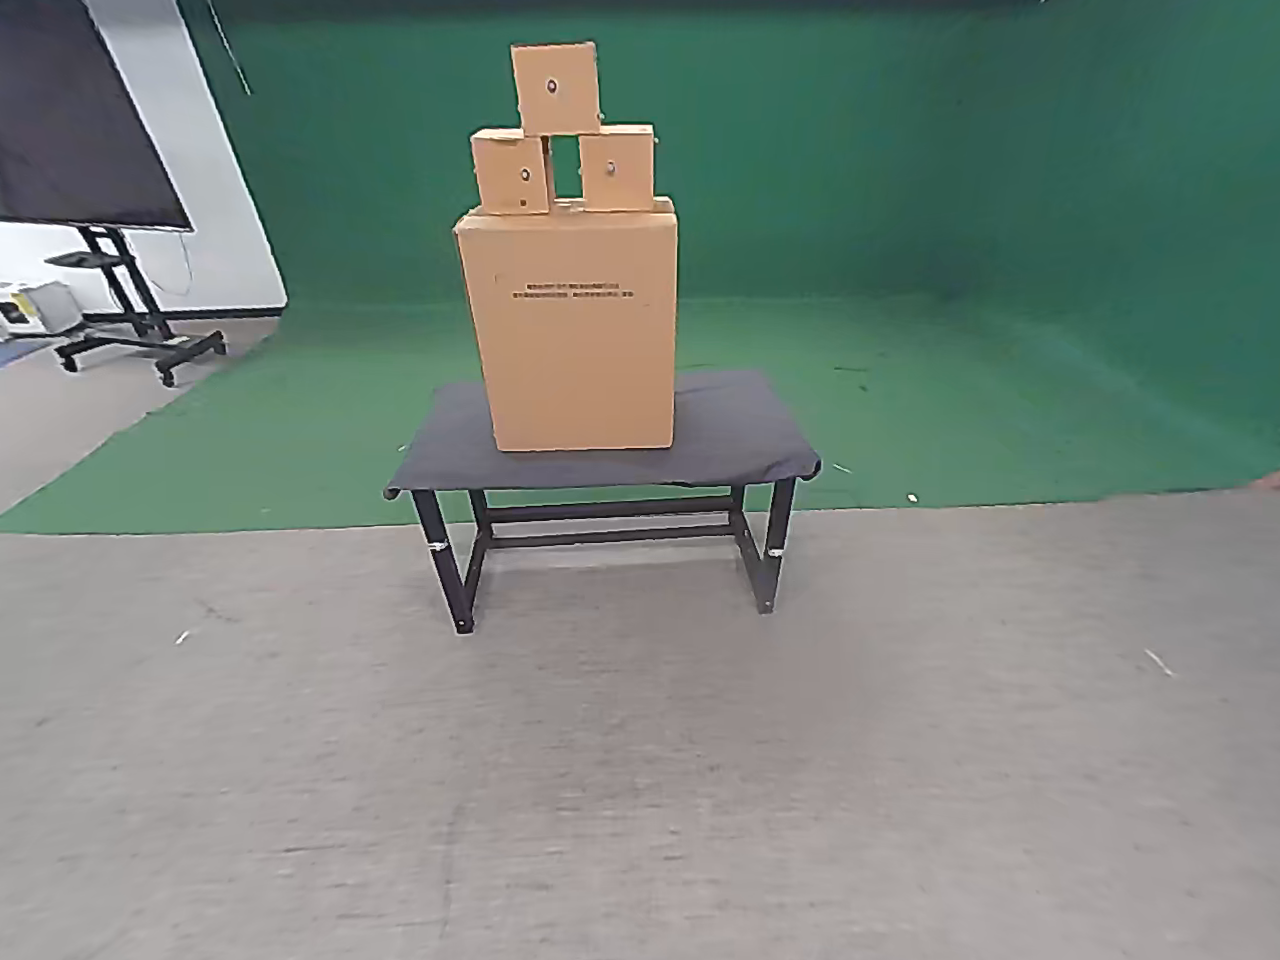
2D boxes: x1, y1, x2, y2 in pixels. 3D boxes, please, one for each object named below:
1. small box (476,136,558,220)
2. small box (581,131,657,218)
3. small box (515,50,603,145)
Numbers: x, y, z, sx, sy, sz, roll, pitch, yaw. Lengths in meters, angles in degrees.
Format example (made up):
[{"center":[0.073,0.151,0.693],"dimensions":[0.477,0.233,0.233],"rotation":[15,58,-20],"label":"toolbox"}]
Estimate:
[{"center":[-0.303,-0.767,1.374],"dimensions":[0.168,0.176,0.179],"rotation":[-1,36,-1],"label":"small box"},{"center":[-0.047,-0.775,1.373],"dimensions":[0.179,0.176,0.168],"rotation":[-1,38,2],"label":"small box"},{"center":[-0.180,-0.901,1.273],"dimensions":[0.179,0.176,0.168],"rotation":[-3,38,1],"label":"small box"}]
